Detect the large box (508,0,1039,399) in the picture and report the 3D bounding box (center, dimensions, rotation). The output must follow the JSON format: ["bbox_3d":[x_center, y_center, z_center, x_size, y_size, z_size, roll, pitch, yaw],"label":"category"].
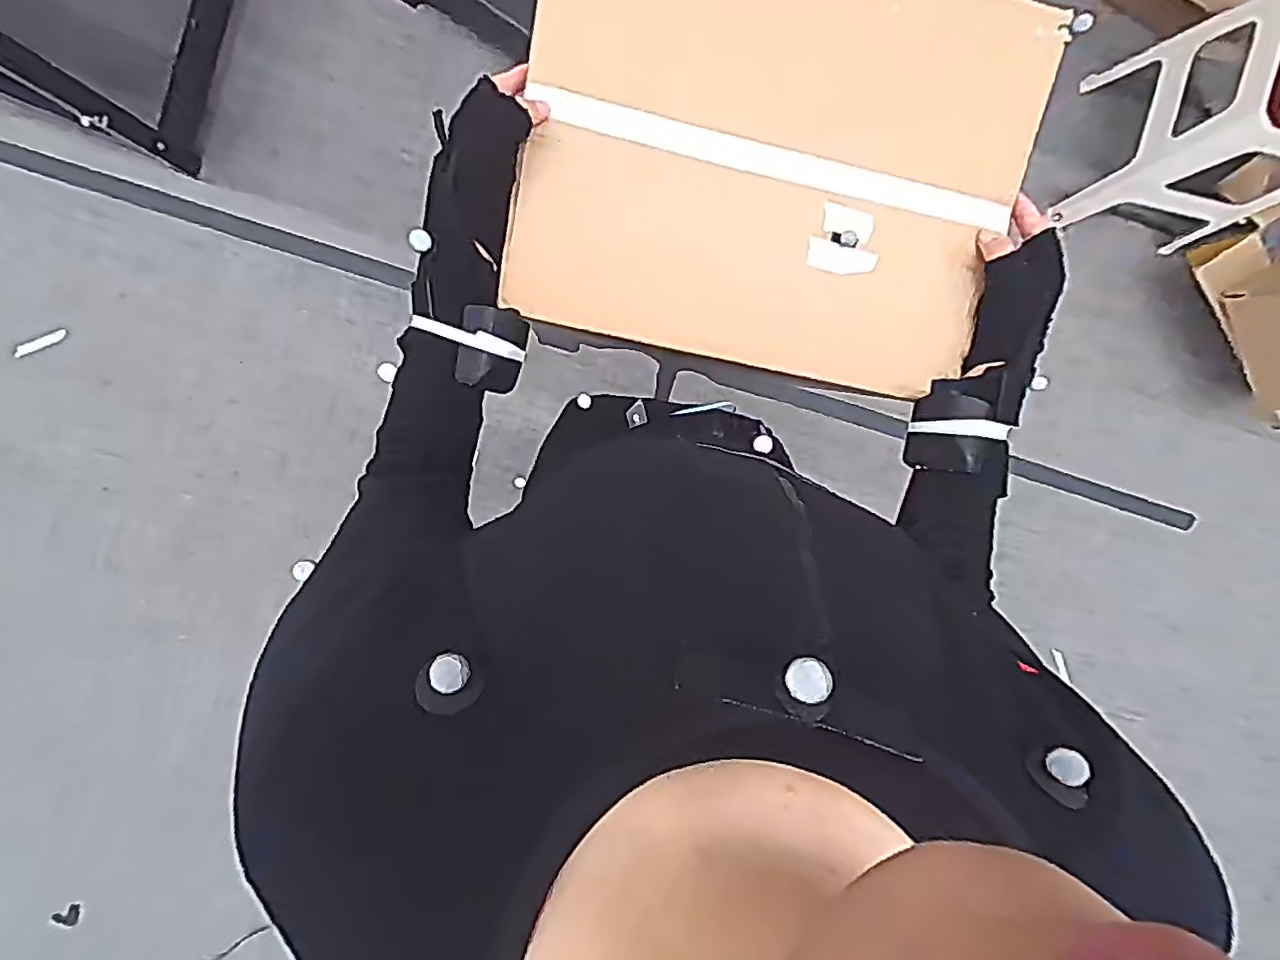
[{"bbox_3d":[0.093,-0.285,0.591,0.408,0.320,0.320,10,103,-8],"label":"large box"}]
